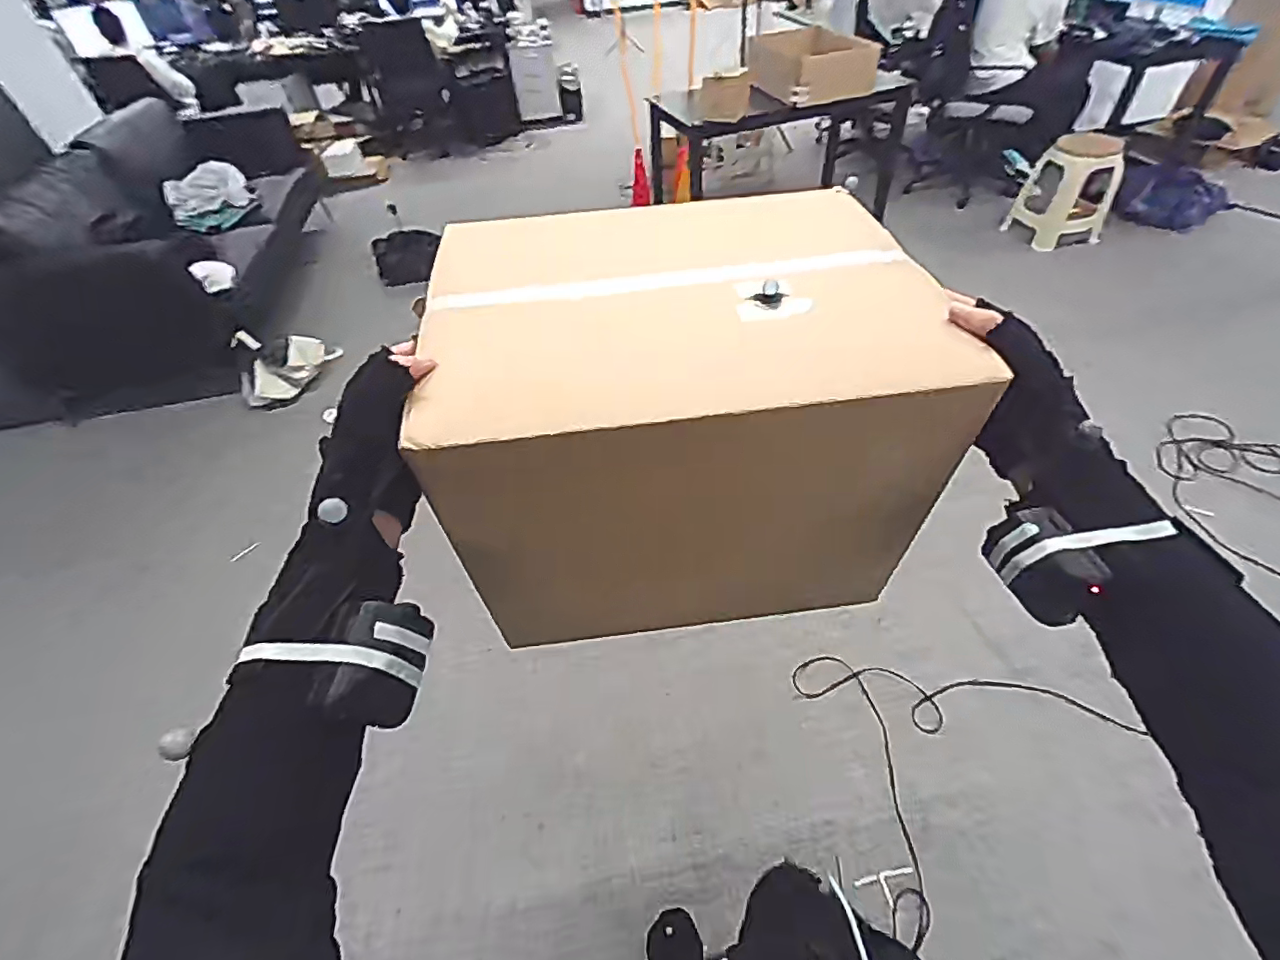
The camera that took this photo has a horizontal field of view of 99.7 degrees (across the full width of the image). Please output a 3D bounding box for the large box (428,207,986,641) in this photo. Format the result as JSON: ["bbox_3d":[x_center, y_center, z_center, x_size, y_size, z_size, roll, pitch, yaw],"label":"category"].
[{"bbox_3d":[0.036,-0.058,0.578,0.408,0.320,0.320,-6,50,-4],"label":"large box"}]
